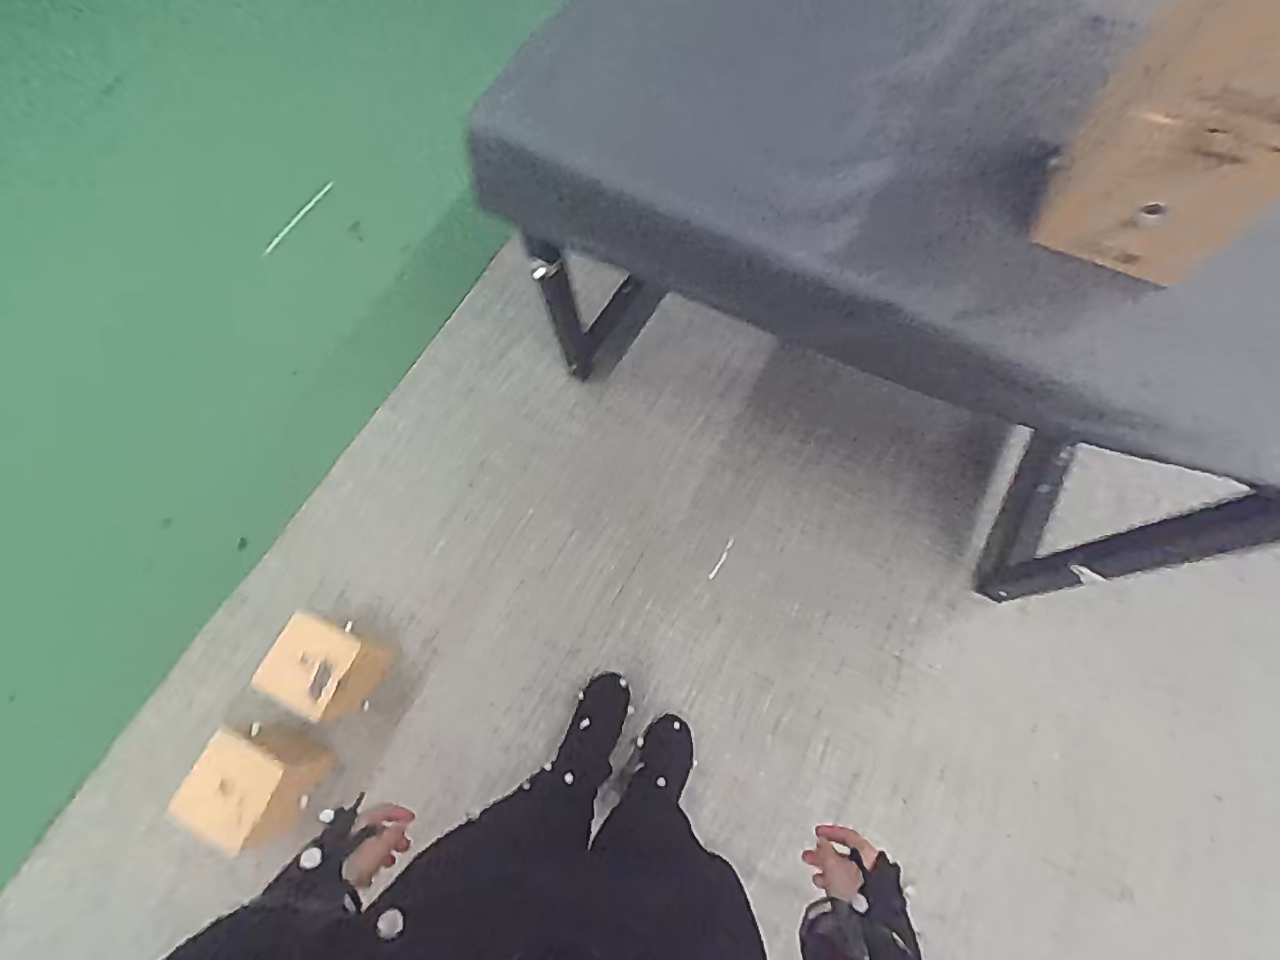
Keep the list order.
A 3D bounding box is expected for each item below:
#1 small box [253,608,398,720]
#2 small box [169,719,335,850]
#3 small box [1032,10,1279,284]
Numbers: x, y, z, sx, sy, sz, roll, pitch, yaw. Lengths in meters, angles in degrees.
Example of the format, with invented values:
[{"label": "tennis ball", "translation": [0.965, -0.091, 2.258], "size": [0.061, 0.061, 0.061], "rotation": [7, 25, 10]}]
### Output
[{"label": "small box", "translation": [-0.668, 0.396, 1.174], "size": [0.179, 0.176, 0.168], "rotation": [24, 73, 12]}, {"label": "small box", "translation": [-0.779, 0.607, 1.105], "size": [0.179, 0.176, 0.168], "rotation": [23, 74, 11]}, {"label": "small box", "translation": [0.580, -0.353, 0.596], "size": [0.168, 0.176, 0.179], "rotation": [26, 74, 12]}]
